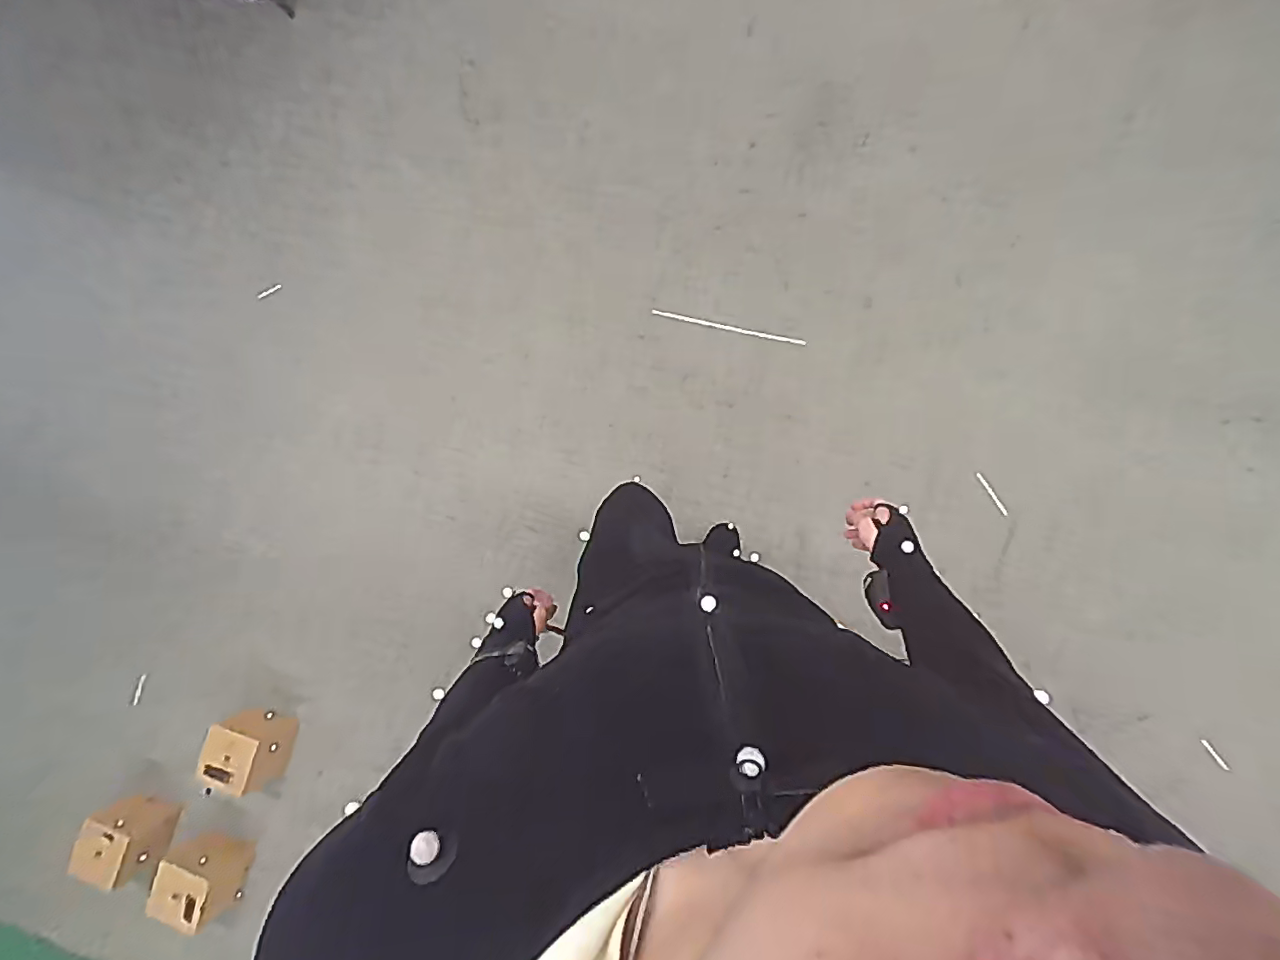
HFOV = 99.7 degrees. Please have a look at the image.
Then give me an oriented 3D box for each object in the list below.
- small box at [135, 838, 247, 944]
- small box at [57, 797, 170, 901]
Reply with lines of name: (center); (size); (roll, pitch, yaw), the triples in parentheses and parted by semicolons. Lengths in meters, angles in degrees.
small box: (-1.342, 1.226, 1.629); (0.179, 0.176, 0.168); (16, 87, 7)
small box: (-1.612, 1.127, 1.667); (0.168, 0.176, 0.179); (18, 89, 7)
